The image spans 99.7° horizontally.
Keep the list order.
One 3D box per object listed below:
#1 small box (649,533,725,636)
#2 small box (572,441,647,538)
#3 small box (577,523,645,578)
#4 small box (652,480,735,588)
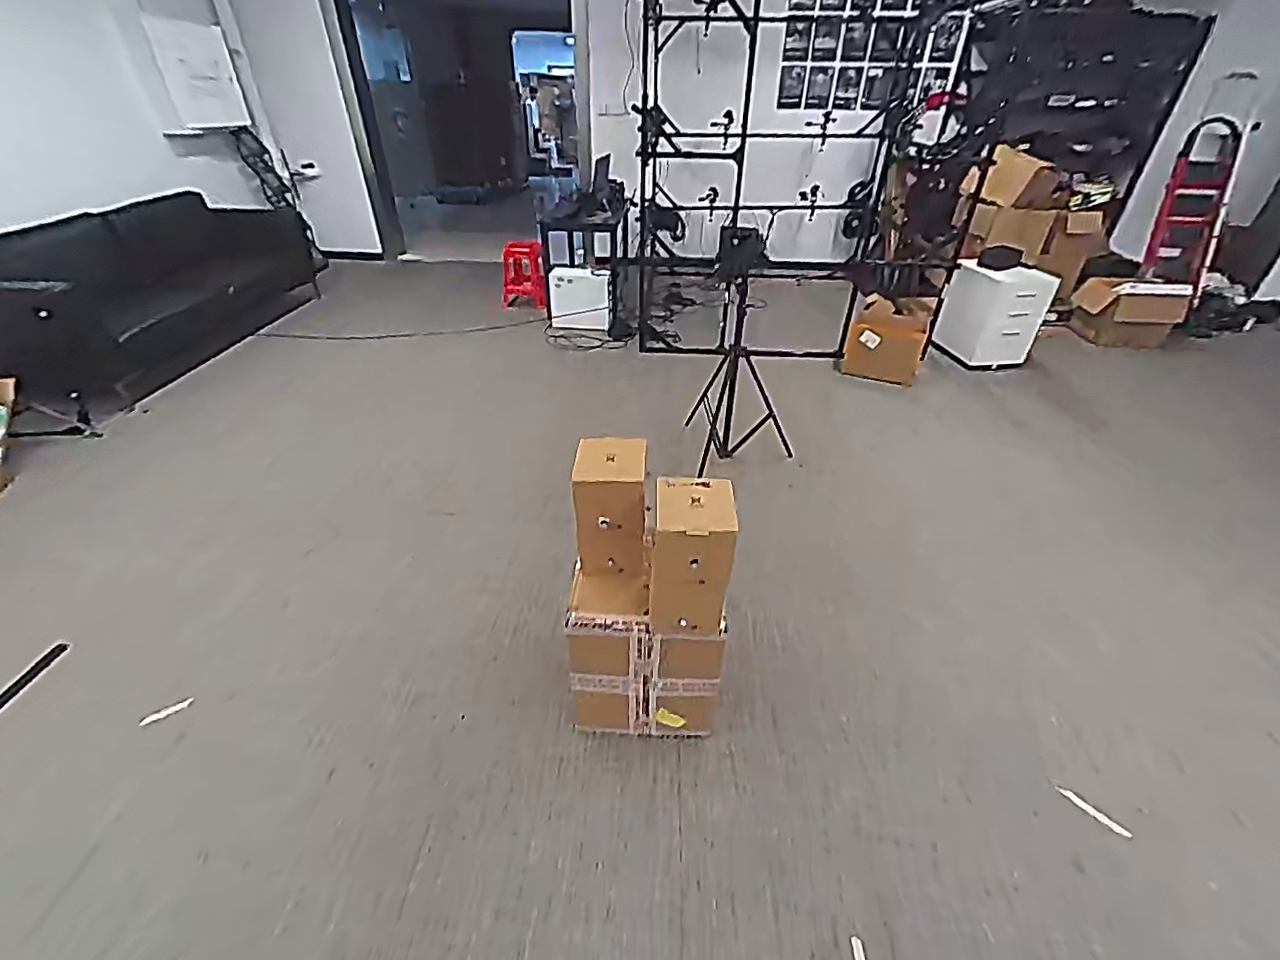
[{"bbox_3d":[0.105,0.246,1.289,0.168,0.176,0.179,1,38,0],"label":"small box"},{"bbox_3d":[-0.068,0.021,1.315,0.168,0.176,0.179,0,38,2],"label":"small box"},{"bbox_3d":[-0.070,0.137,1.431,0.168,0.176,0.179,0,38,2],"label":"small box"},{"bbox_3d":[0.113,0.119,1.184,0.168,0.176,0.179,2,38,1],"label":"small box"}]
